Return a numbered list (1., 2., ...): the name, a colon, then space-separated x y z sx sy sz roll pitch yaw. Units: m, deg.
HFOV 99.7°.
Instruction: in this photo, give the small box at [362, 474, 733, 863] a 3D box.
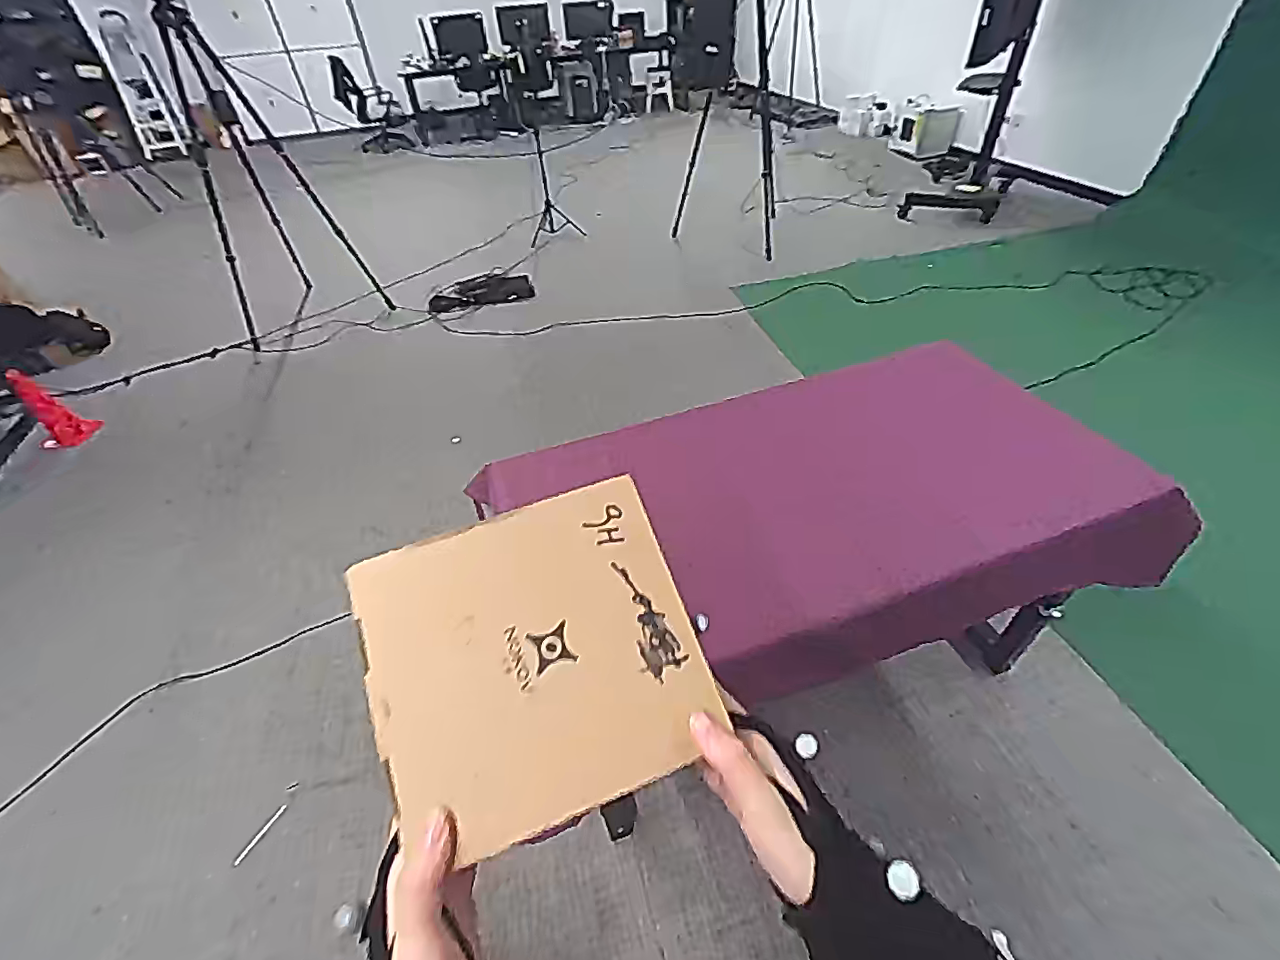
1. small box: -0.059 0.121 0.380 0.179 0.176 0.168 -19 73 -10
